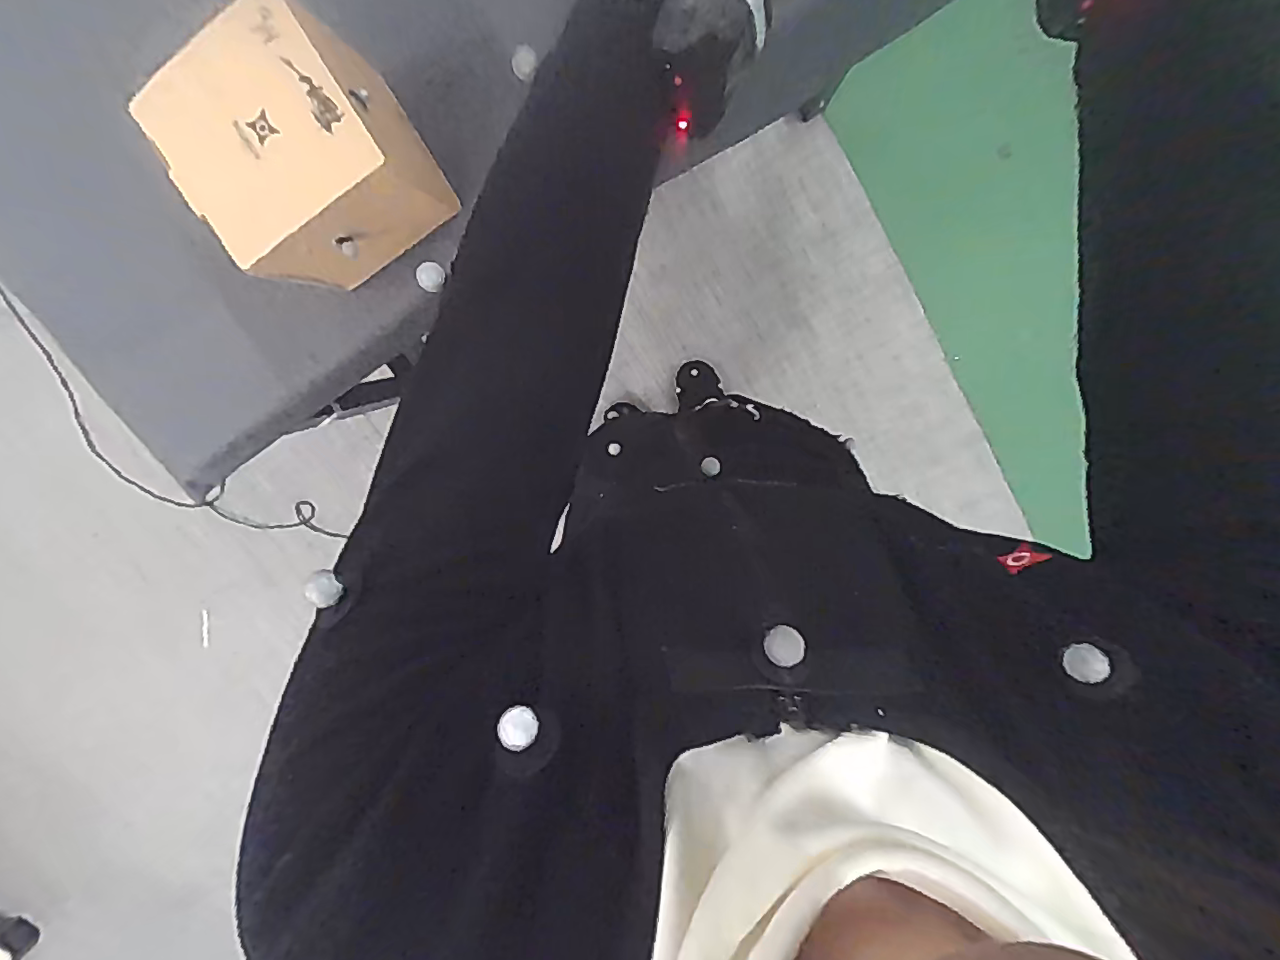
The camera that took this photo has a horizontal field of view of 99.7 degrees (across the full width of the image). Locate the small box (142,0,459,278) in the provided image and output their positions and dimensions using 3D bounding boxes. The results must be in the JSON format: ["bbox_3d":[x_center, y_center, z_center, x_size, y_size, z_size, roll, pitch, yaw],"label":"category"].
[{"bbox_3d":[-0.323,-0.329,0.553,0.179,0.176,0.168,-29,100,12],"label":"small box"}]
